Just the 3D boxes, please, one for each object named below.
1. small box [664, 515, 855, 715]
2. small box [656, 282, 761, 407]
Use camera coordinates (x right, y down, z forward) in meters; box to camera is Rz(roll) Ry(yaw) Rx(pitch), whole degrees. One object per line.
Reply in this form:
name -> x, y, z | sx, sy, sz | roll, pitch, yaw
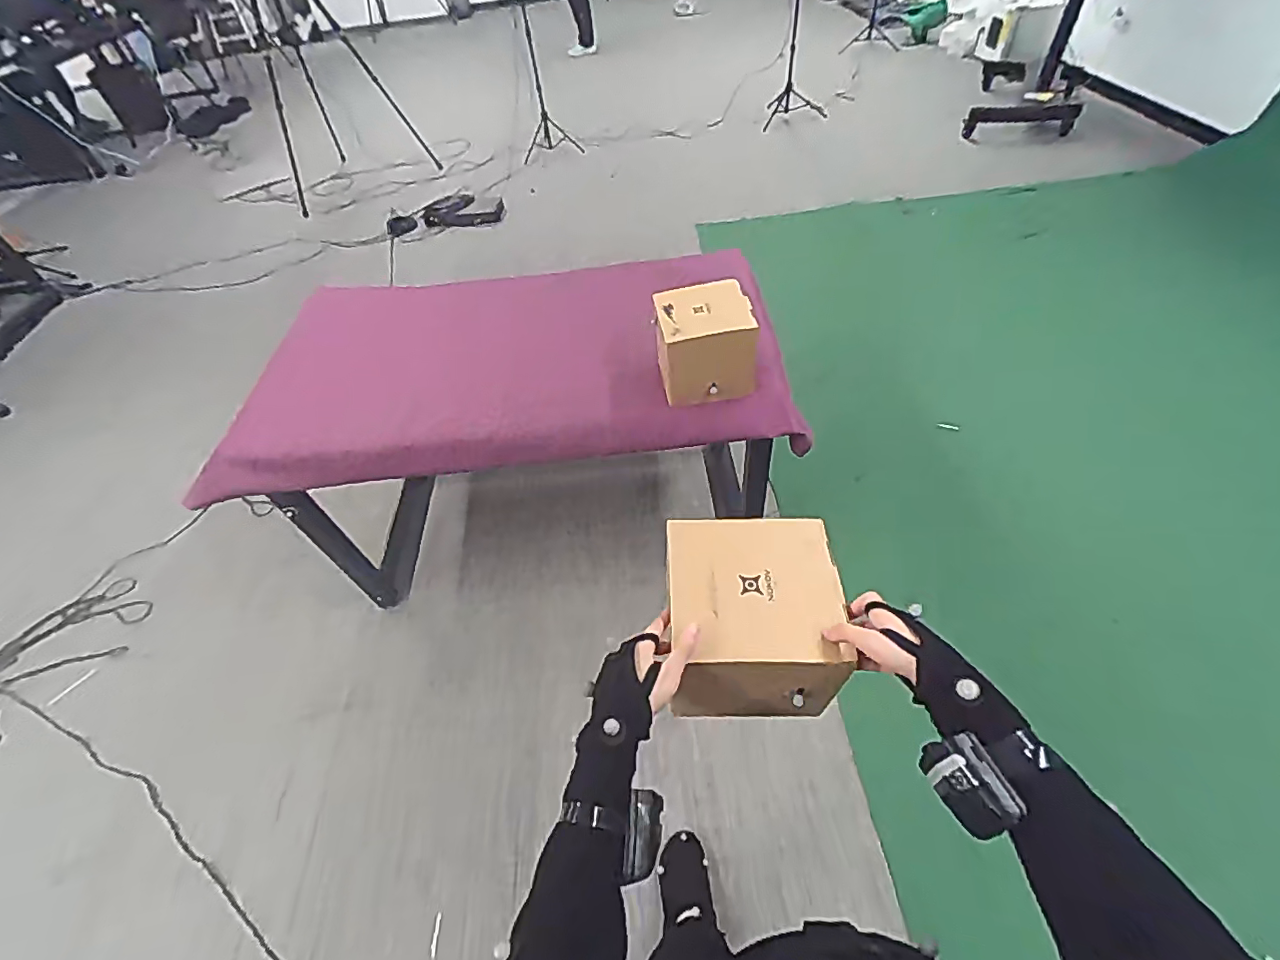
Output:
small box -> 0.117, 0.155, 0.612 | 0.179, 0.176, 0.168 | -1, 49, 2
small box -> 0.133, -0.269, 1.091 | 0.179, 0.176, 0.168 | -9, 50, 0
